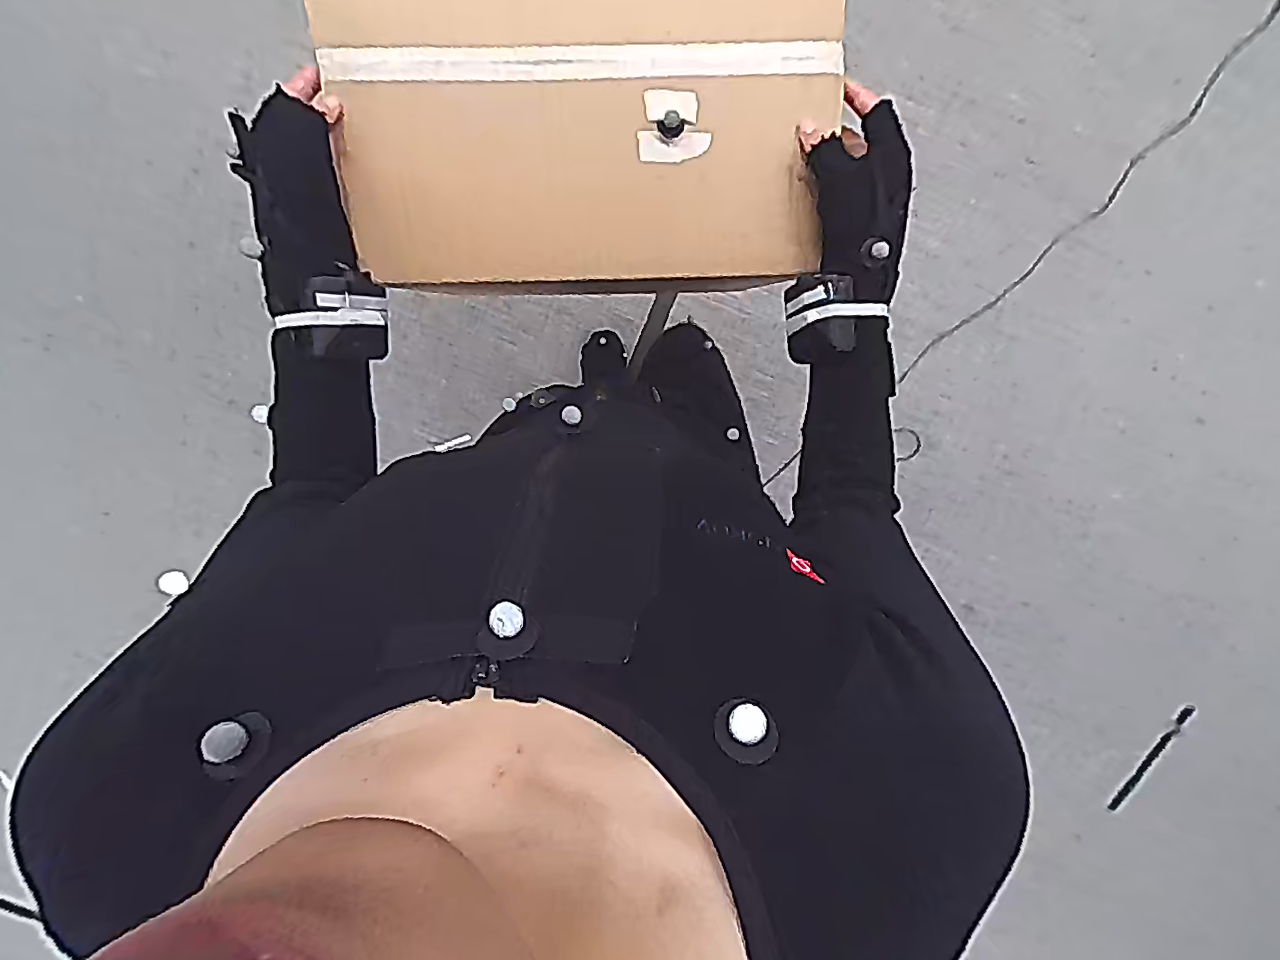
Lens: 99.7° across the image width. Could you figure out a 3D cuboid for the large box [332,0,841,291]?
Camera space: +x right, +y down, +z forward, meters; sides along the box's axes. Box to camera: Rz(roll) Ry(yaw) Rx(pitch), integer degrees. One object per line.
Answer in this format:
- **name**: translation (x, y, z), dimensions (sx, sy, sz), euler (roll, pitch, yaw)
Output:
- **large box**: translation (-0.046, -0.377, 0.574), dimensions (0.408, 0.320, 0.320), euler (-1, 107, -2)
